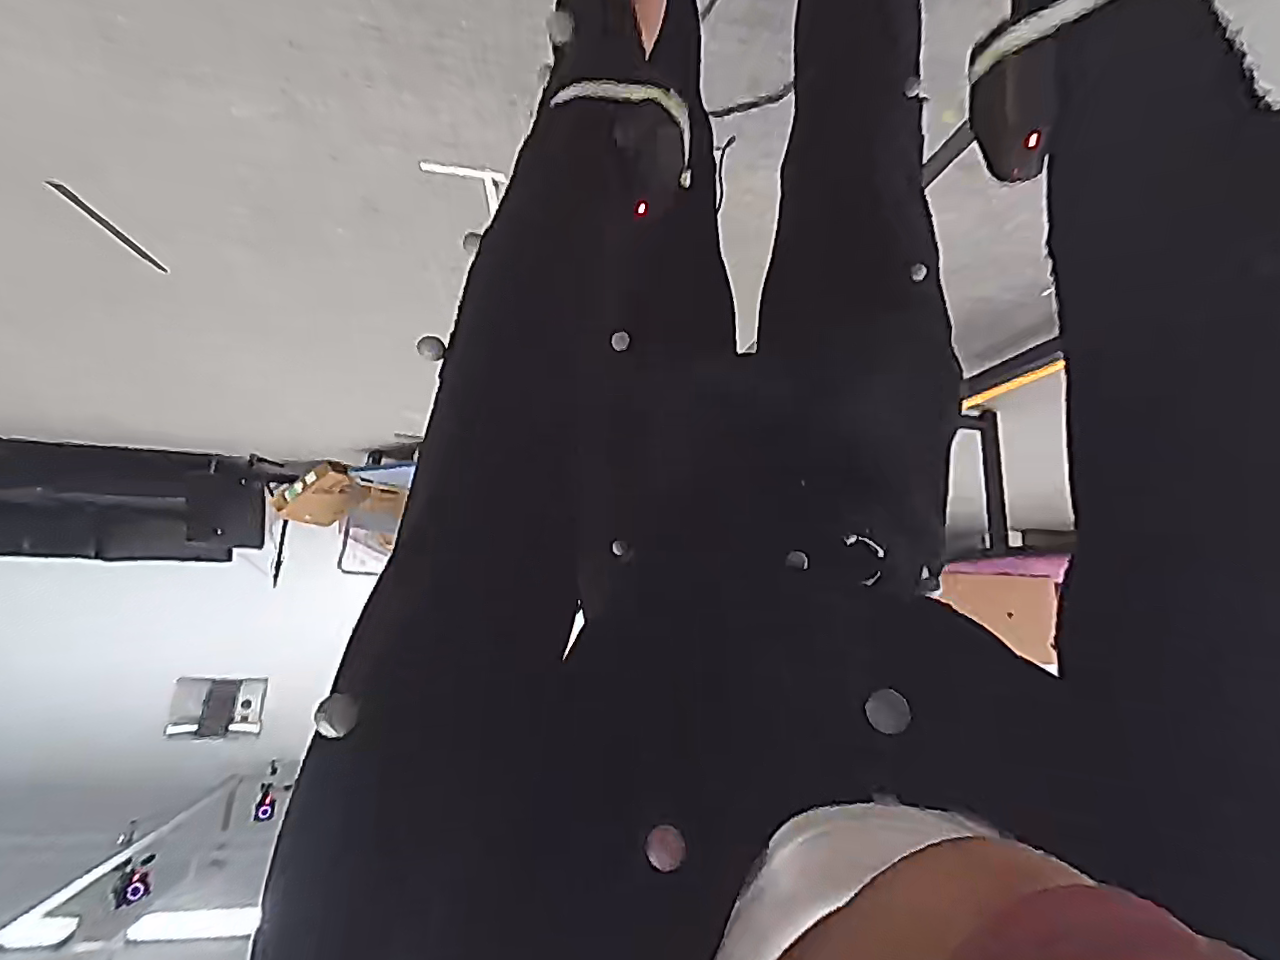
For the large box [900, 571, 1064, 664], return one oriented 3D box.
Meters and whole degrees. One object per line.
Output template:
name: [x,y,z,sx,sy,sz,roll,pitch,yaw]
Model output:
large box: [1.244,0.502,2.001,0.408,0.320,0.320,3,170,-9]
